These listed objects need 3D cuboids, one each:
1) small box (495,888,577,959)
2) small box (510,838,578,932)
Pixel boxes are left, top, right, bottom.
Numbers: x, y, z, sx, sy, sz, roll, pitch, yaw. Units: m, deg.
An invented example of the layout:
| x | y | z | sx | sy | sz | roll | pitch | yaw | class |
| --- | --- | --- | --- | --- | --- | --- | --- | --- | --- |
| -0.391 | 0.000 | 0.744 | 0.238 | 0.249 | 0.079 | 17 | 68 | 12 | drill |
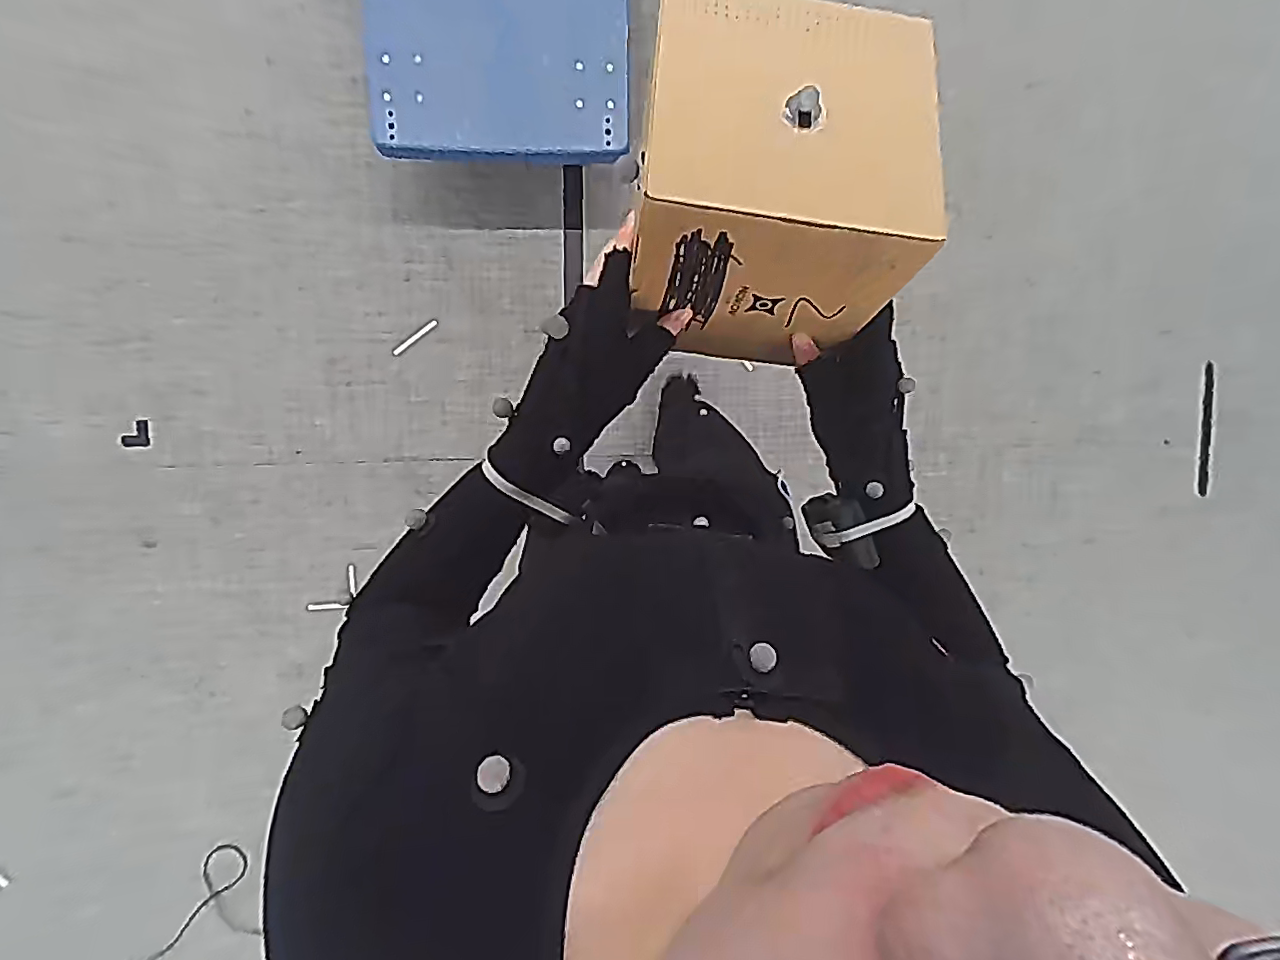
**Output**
| x | y | z | sx | sy | sz | roll | pitch | yaw | class |
| --- | --- | --- | --- | --- | --- | --- | --- | --- | --- |
| -0.250 | 1.147 | 1.331 | 0.168 | 0.176 | 0.179 | -7 | 95 | -2 | small box |
| -0.260 | 1.127 | 1.495 | 0.168 | 0.176 | 0.179 | -3 | 97 | -3 | small box |
